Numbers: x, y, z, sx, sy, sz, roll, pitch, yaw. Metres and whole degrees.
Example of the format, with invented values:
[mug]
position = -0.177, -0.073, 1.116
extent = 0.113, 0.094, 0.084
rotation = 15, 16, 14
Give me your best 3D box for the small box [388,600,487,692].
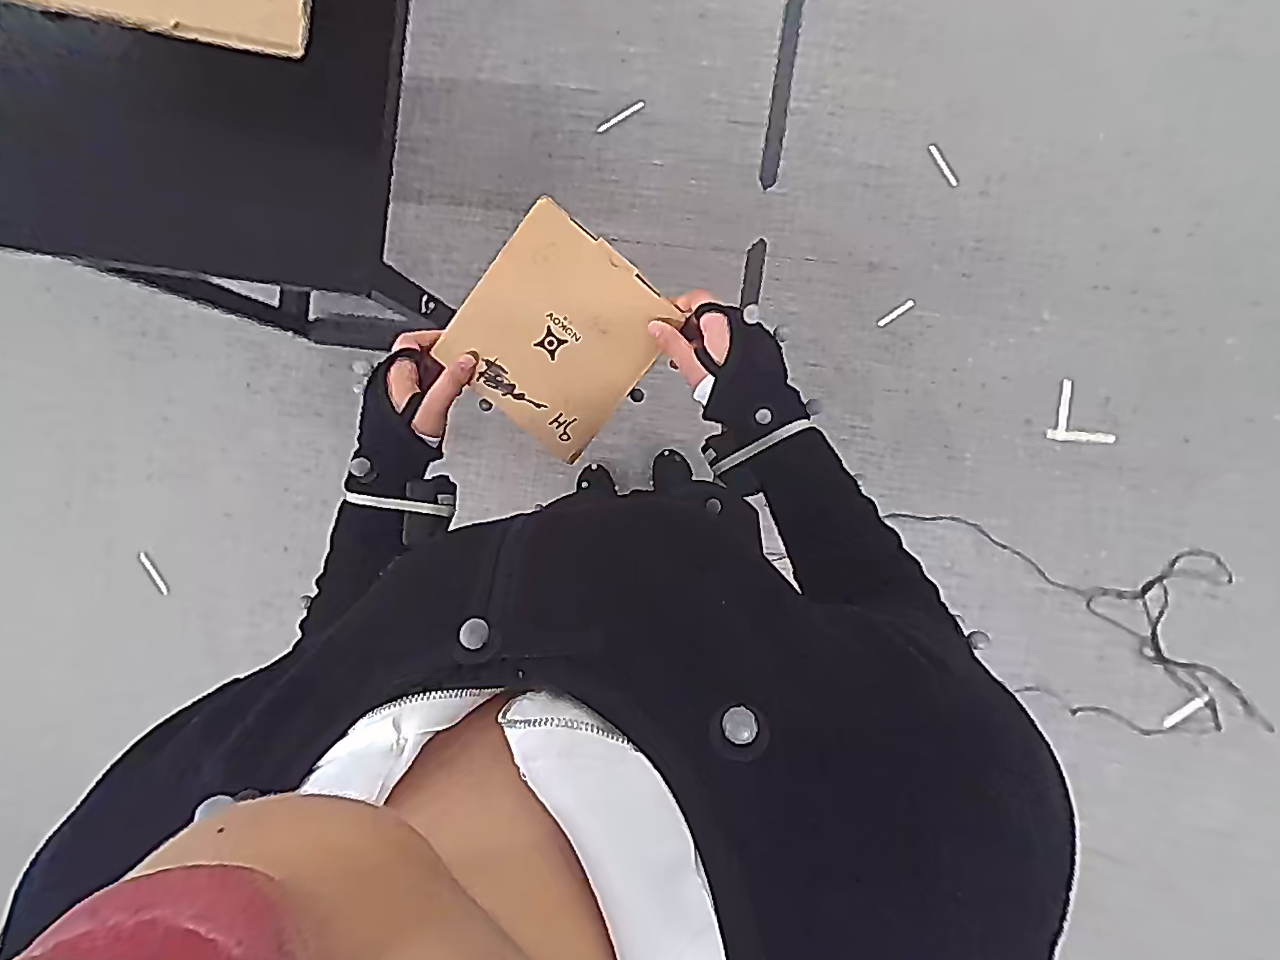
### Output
[small box]
position = -0.474, 0.389, 1.289
extent = 0.179, 0.176, 0.168
rotation = 1, 91, 4
